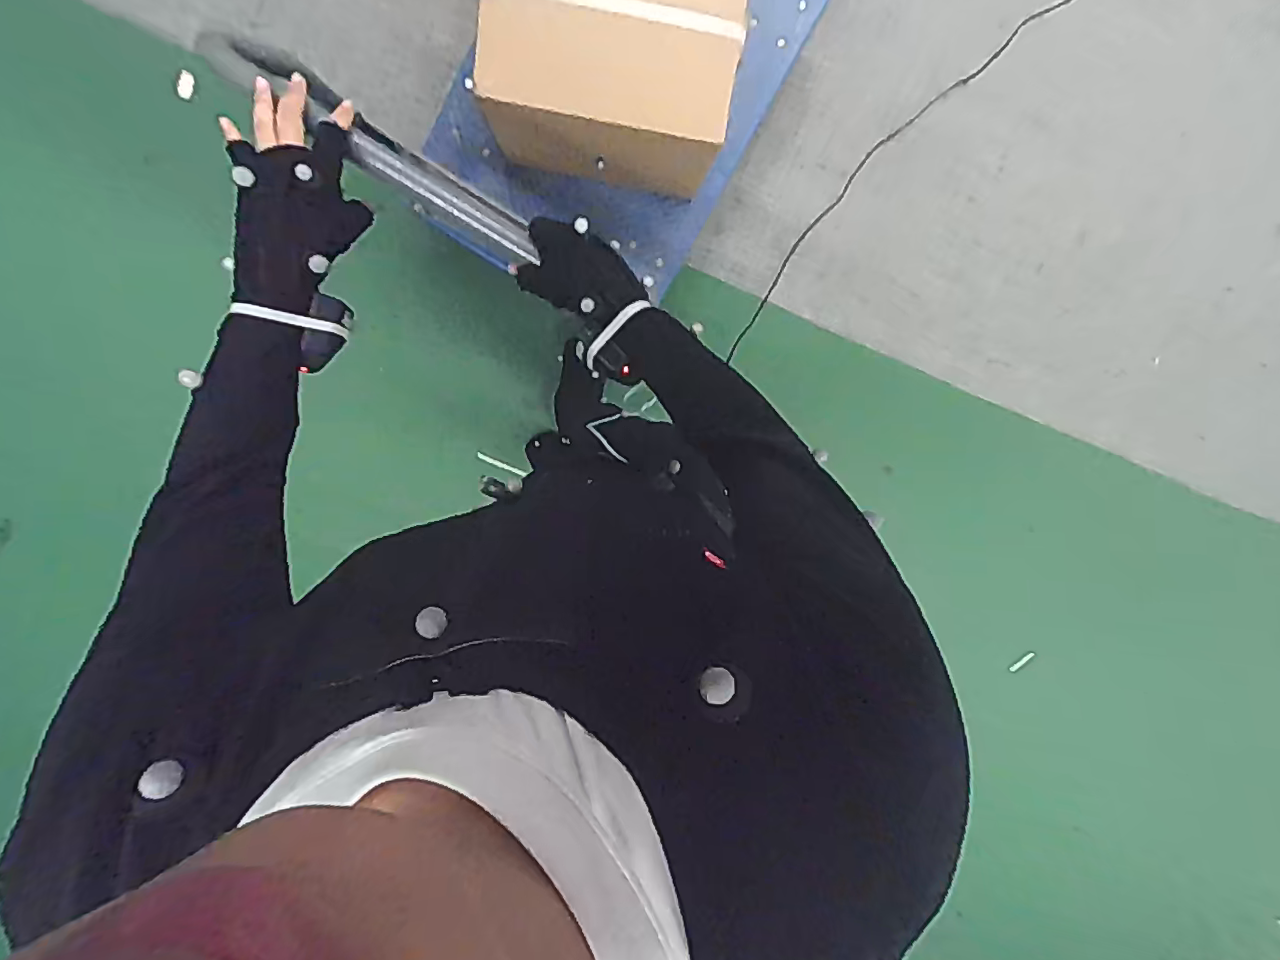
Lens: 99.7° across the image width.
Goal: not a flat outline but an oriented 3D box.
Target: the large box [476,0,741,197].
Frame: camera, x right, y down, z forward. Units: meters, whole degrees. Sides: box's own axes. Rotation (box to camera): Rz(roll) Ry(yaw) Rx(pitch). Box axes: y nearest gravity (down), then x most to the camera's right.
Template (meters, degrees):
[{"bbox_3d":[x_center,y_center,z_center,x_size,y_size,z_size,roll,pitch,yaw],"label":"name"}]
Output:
[{"bbox_3d":[-0.051,-0.748,0.987,0.408,0.320,0.320,7,101,-5],"label":"large box"}]
